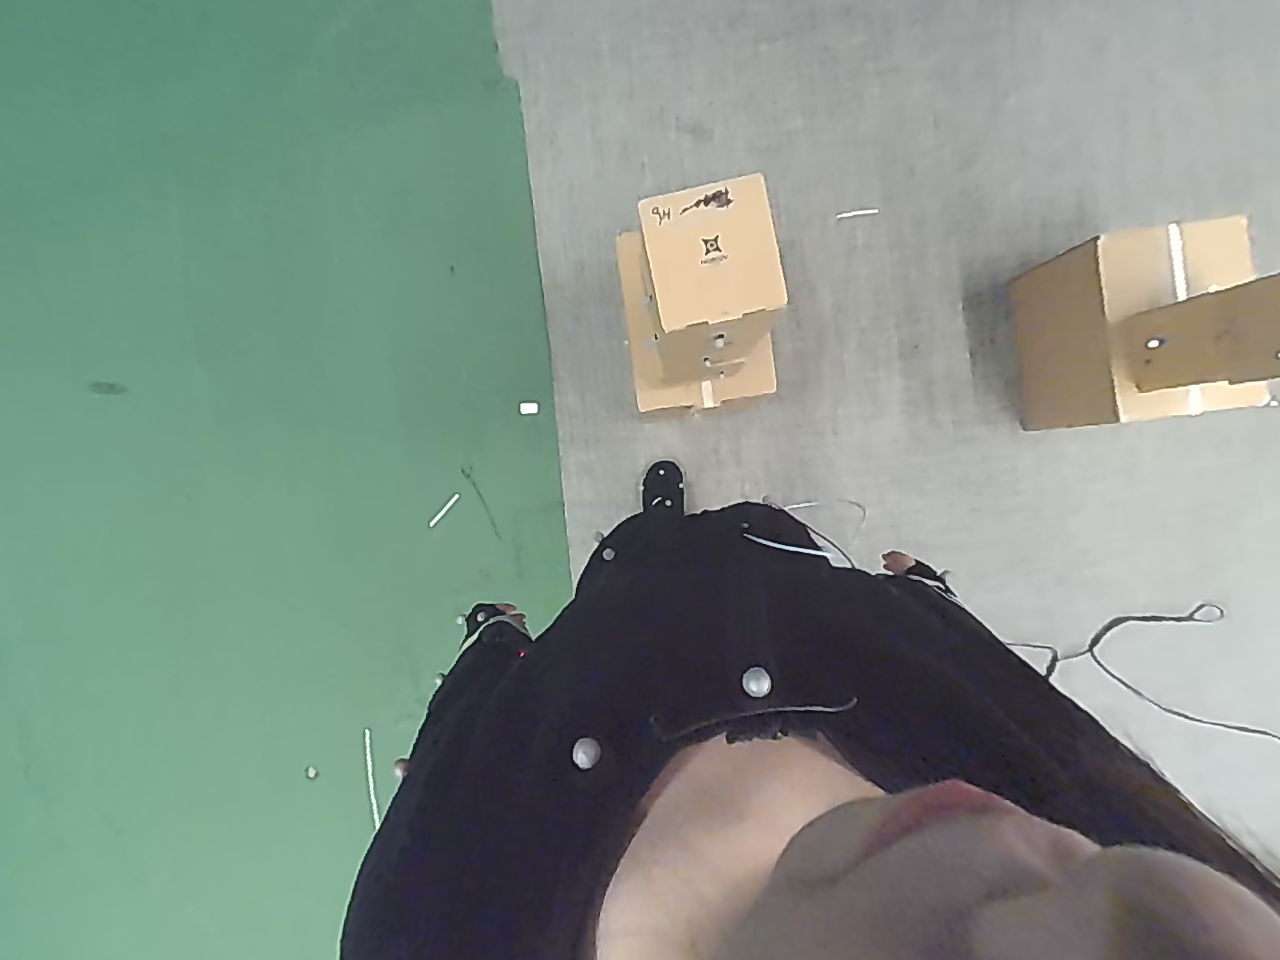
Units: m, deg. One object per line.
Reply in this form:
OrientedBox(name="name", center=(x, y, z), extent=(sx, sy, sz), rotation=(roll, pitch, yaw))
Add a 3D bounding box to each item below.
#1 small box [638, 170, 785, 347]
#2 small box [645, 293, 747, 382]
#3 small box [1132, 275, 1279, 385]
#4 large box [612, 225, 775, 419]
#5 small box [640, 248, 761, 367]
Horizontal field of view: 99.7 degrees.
OrientedBox(name="small box", center=(0.096, -0.297, 0.770), extent=(0.168, 0.176, 0.179), rotation=(-11, 92, 2))
OrientedBox(name="small box", center=(0.108, -0.302, 1.098), extent=(0.179, 0.176, 0.168), rotation=(-9, 91, 4))
OrientedBox(name="small box", center=(1.132, -0.289, 1.061), extent=(0.179, 0.176, 0.168), rotation=(-9, 92, 4))
OrientedBox(name="large box", center=(0.126, -0.382, 1.339), extent=(0.320, 0.320, 0.408), rotation=(-8, 91, 2))
OrientedBox(name="small box", center=(0.101, -0.303, 0.934), extent=(0.168, 0.176, 0.179), rotation=(-13, 90, 2))
